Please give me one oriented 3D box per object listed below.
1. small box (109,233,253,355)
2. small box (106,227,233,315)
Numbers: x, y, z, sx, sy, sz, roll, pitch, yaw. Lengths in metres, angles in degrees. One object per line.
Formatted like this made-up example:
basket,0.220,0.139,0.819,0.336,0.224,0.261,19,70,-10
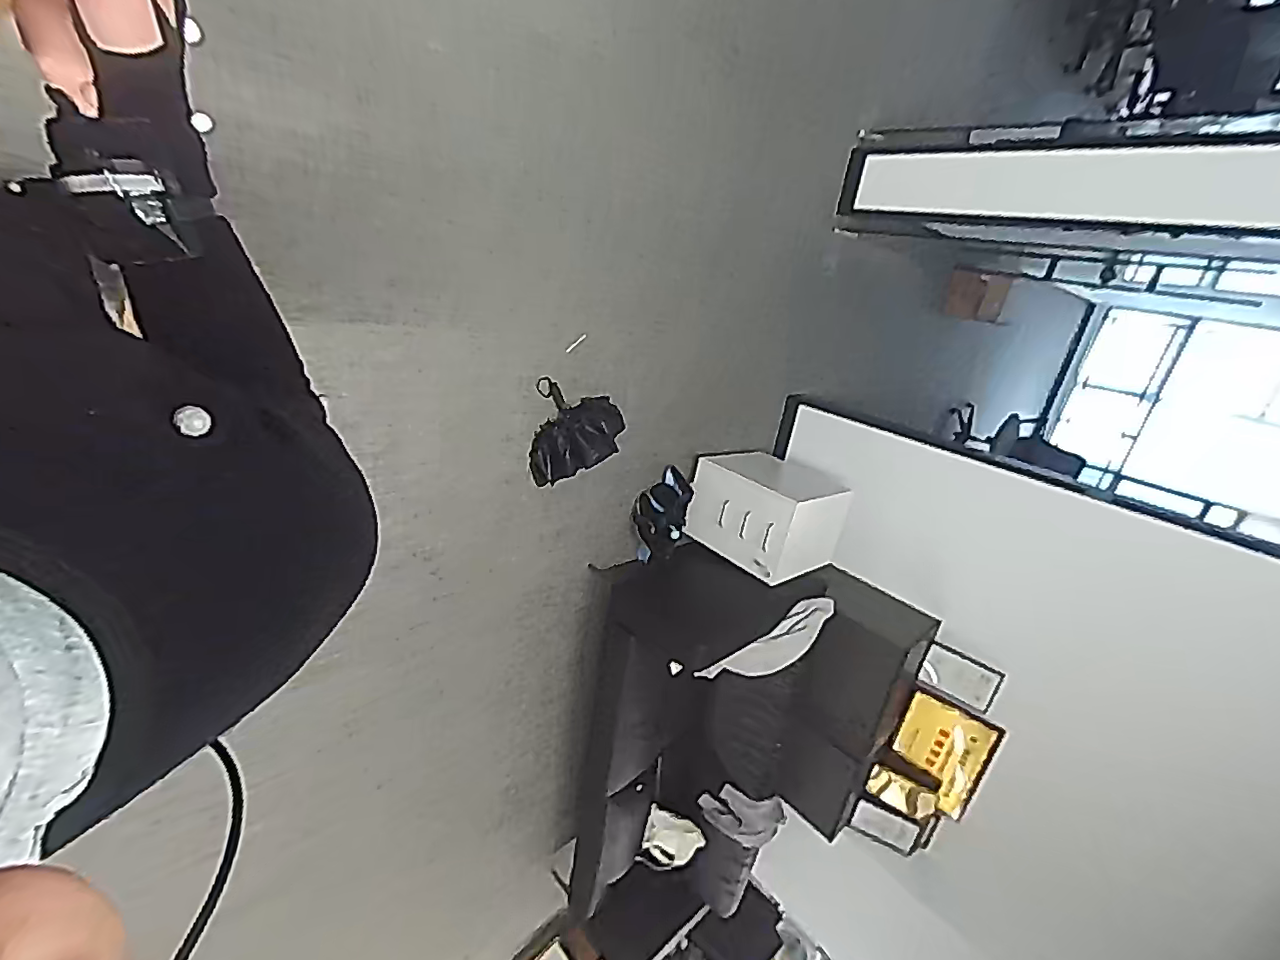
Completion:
small box,-0.853,-0.346,1.003,0.179,0.176,0.168,4,107,-48
small box,-0.965,-0.406,1.107,0.179,0.176,0.168,3,108,-47
